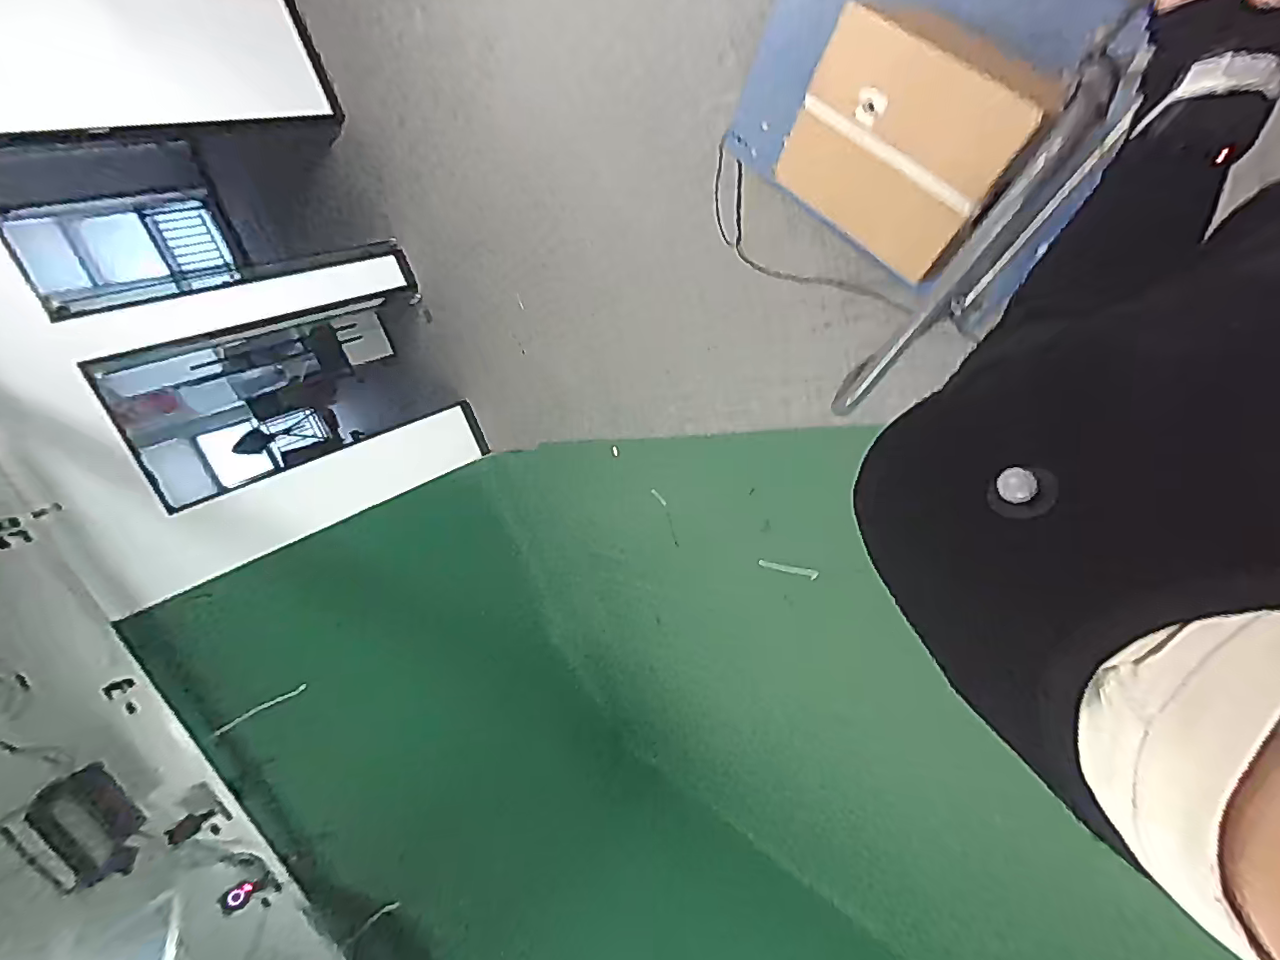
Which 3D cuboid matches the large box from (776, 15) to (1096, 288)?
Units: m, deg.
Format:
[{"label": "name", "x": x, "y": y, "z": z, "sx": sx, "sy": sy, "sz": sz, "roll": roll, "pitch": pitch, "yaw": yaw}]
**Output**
[{"label": "large box", "x": 0.571, "y": -0.660, "z": 1.090, "sx": 0.408, "sy": 0.320, "sz": 0.320, "roll": 50, "pitch": 145, "yaw": 19}]
